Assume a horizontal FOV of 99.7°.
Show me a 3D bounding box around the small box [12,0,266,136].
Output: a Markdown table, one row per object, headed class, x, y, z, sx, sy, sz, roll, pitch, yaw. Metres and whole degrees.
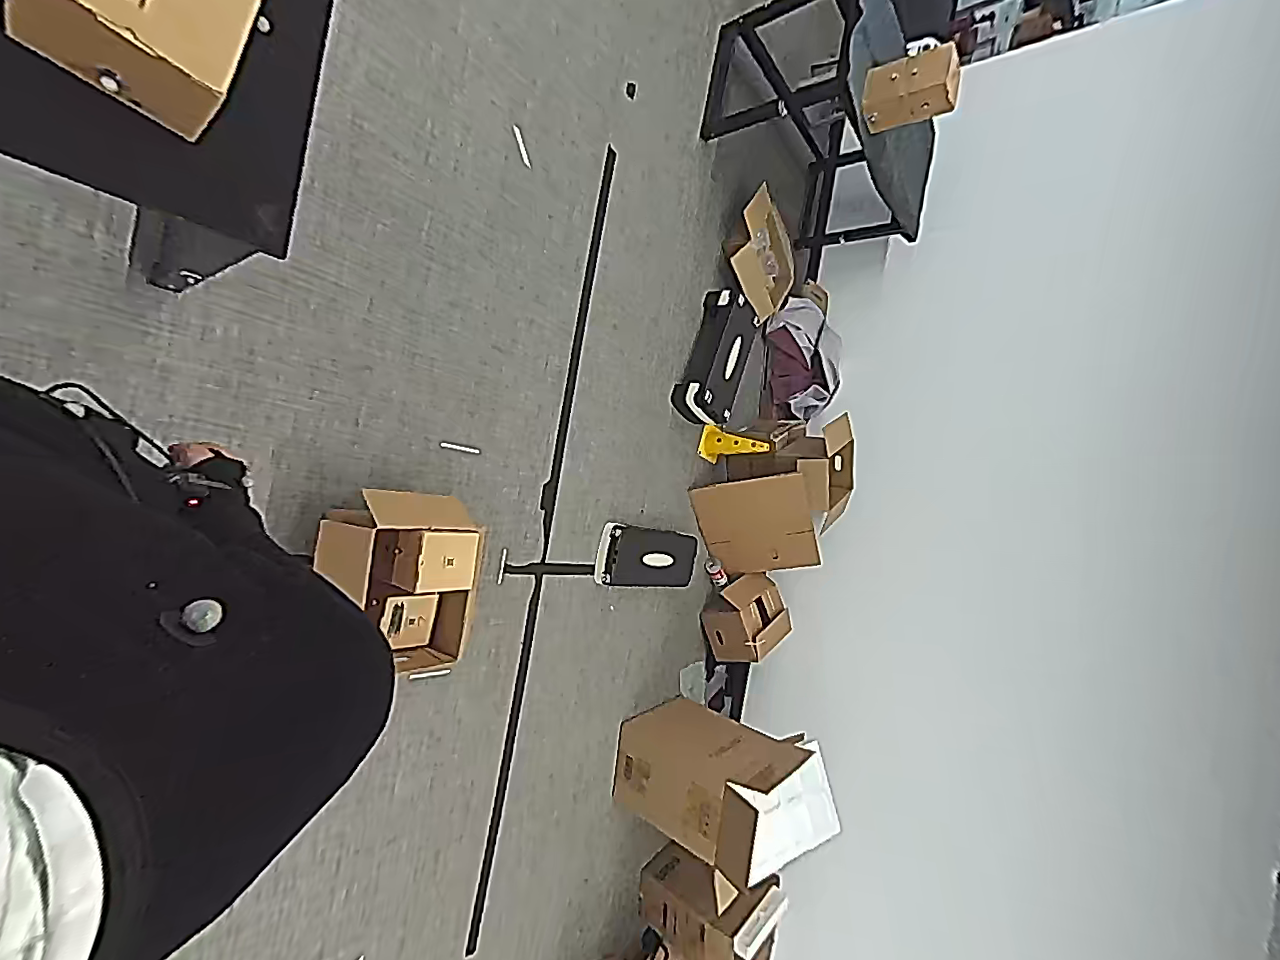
| class | x | y | z | sx | sy | sz | roll | pitch | yaw |
| --- | --- | --- | --- | --- | --- | --- | --- | --- | --- |
| small box | -0.546 | -0.530 | 0.595 | 0.168 | 0.176 | 0.179 | 22 | 80 | -49 |
